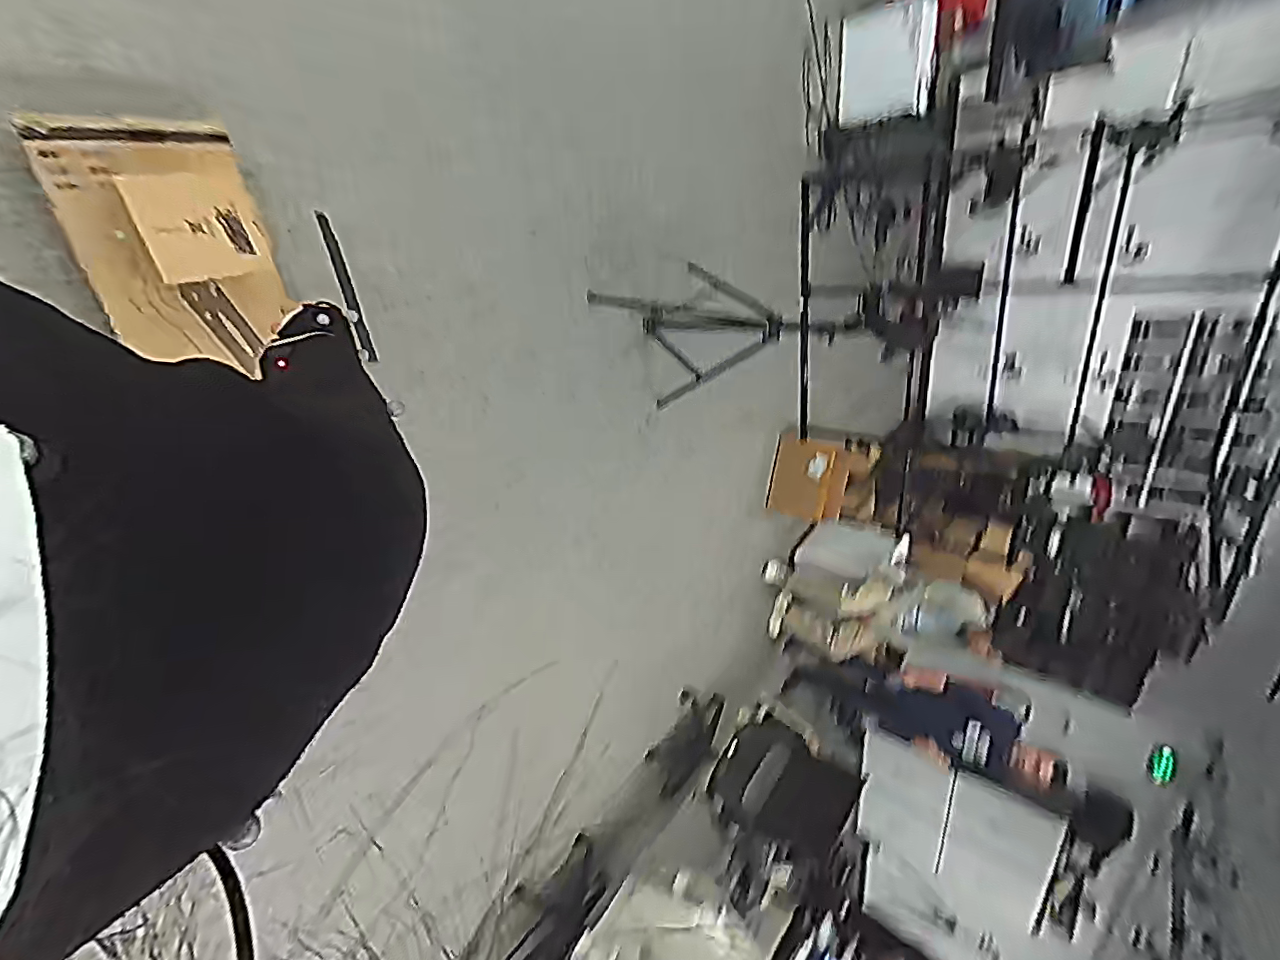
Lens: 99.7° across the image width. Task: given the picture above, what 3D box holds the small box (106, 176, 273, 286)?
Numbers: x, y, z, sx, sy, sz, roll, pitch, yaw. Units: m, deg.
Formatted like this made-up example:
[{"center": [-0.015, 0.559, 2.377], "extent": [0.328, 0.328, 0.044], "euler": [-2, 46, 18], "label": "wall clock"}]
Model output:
[{"center": [-0.822, -0.454, 0.990], "extent": [0.179, 0.176, 0.168], "euler": [-30, 124, -39], "label": "small box"}]
